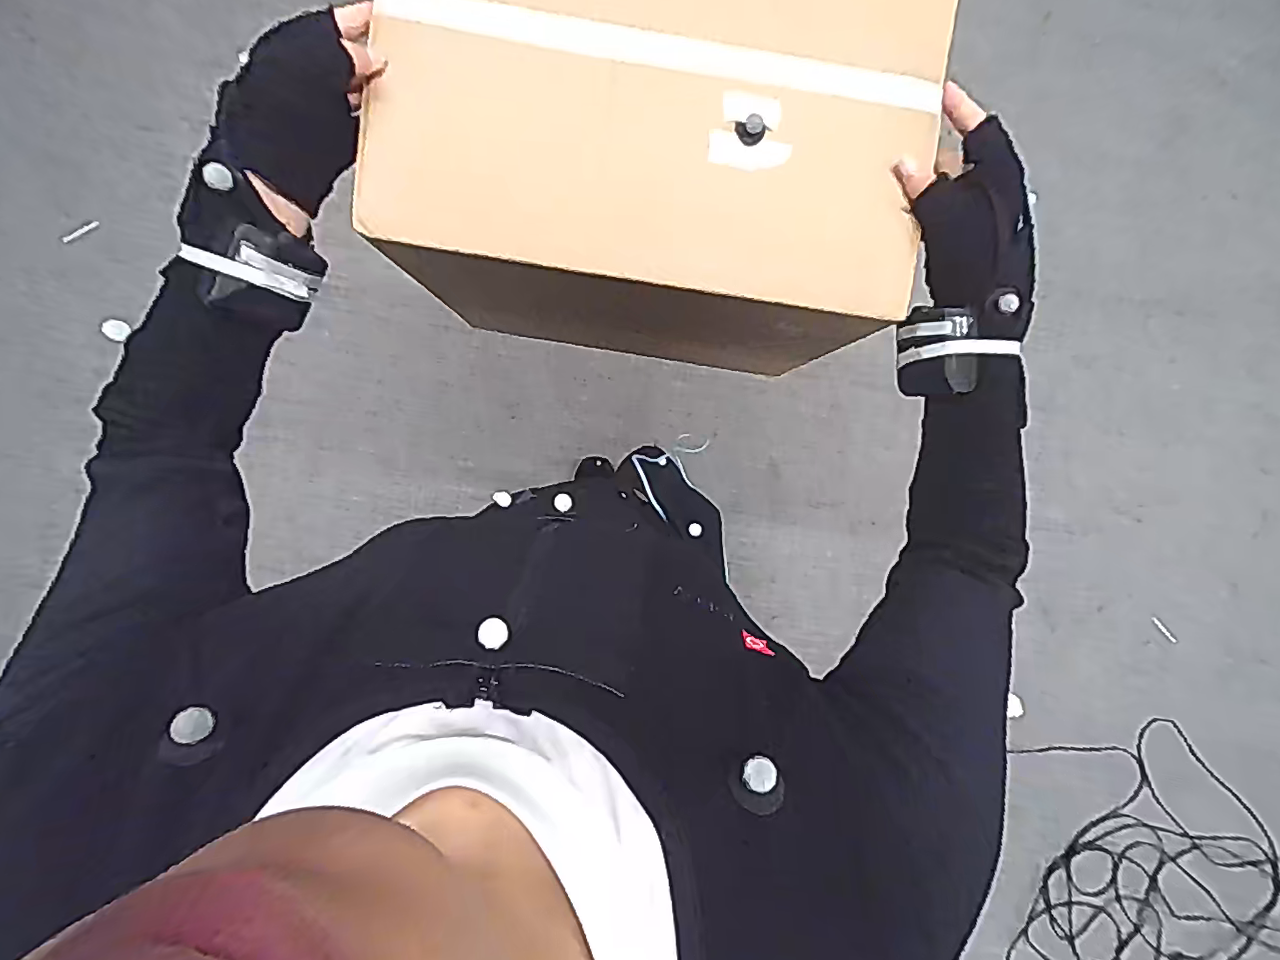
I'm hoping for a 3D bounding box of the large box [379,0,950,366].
[{"bbox_3d":[0.016,-0.315,0.544,0.408,0.320,0.320,8,94,-3],"label":"large box"}]
